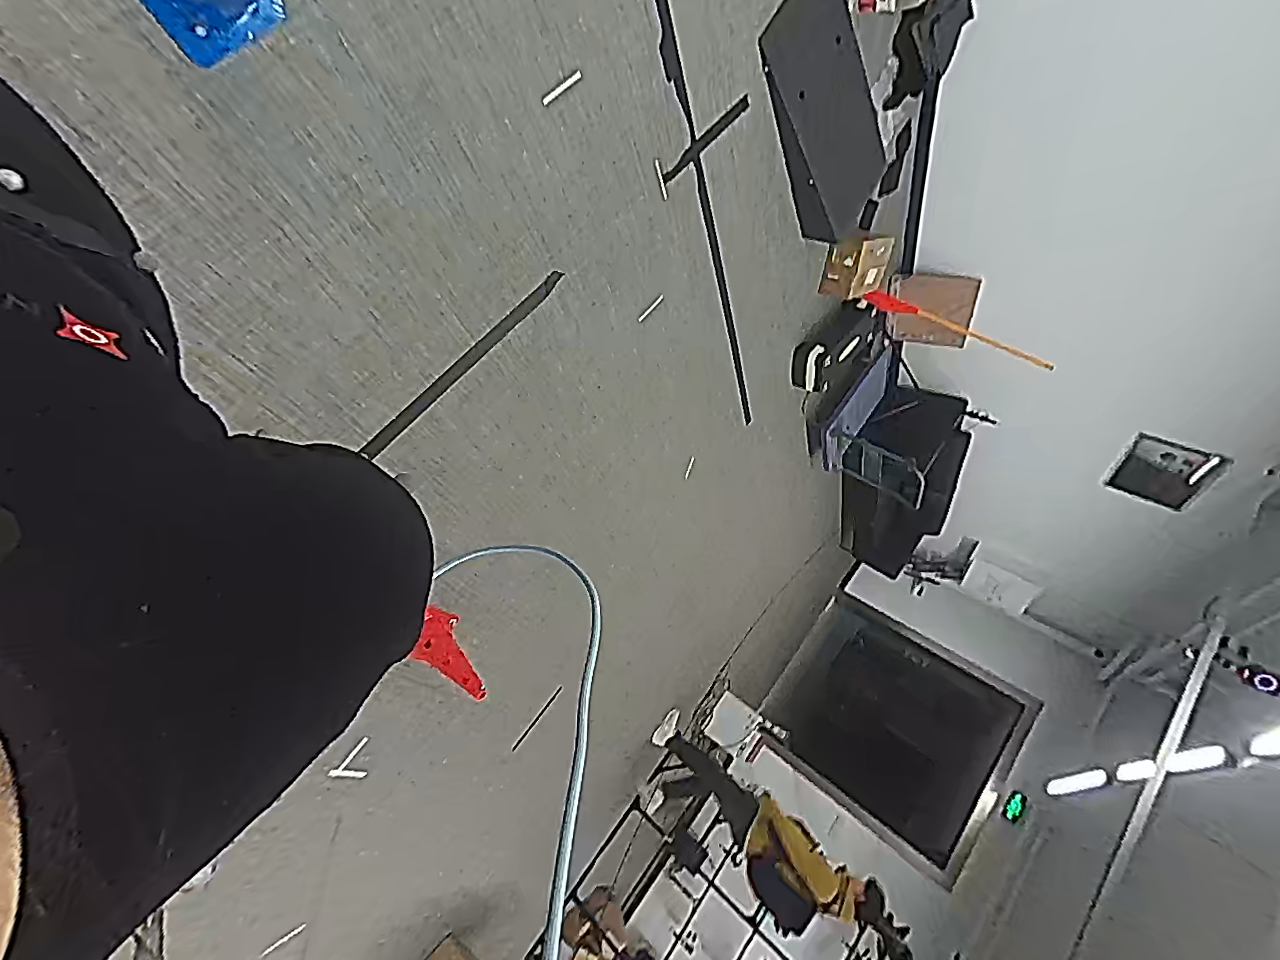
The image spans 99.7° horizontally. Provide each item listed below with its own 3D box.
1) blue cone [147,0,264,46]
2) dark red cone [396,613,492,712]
[{"bbox_3d":[-0.620,-0.776,0.784,0.193,0.380,0.192,-50,145,-17],"label":"blue cone"},{"bbox_3d":[-0.624,0.641,1.829,0.202,0.394,0.201,-54,146,-10],"label":"dark red cone"}]
